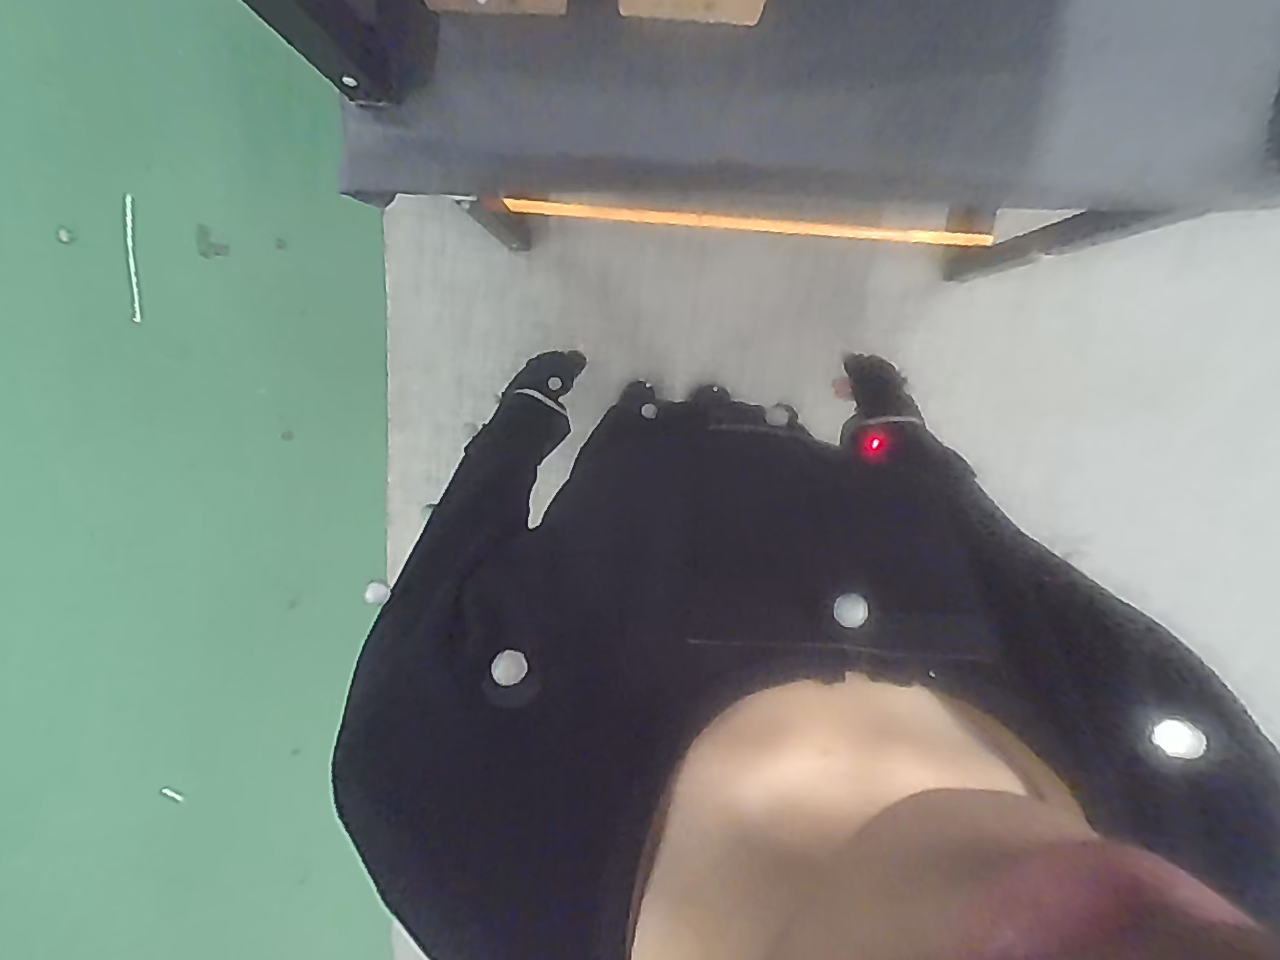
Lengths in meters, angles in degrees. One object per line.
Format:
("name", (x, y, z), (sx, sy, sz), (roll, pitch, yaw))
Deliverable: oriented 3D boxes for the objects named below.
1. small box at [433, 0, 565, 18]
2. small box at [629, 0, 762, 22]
("small box", (-0.166, -0.619, 0.542), (0.168, 0.176, 0.179), (2, 101, 0))
("small box", (0.061, -0.609, 0.543), (0.168, 0.176, 0.179), (4, 100, 0))
